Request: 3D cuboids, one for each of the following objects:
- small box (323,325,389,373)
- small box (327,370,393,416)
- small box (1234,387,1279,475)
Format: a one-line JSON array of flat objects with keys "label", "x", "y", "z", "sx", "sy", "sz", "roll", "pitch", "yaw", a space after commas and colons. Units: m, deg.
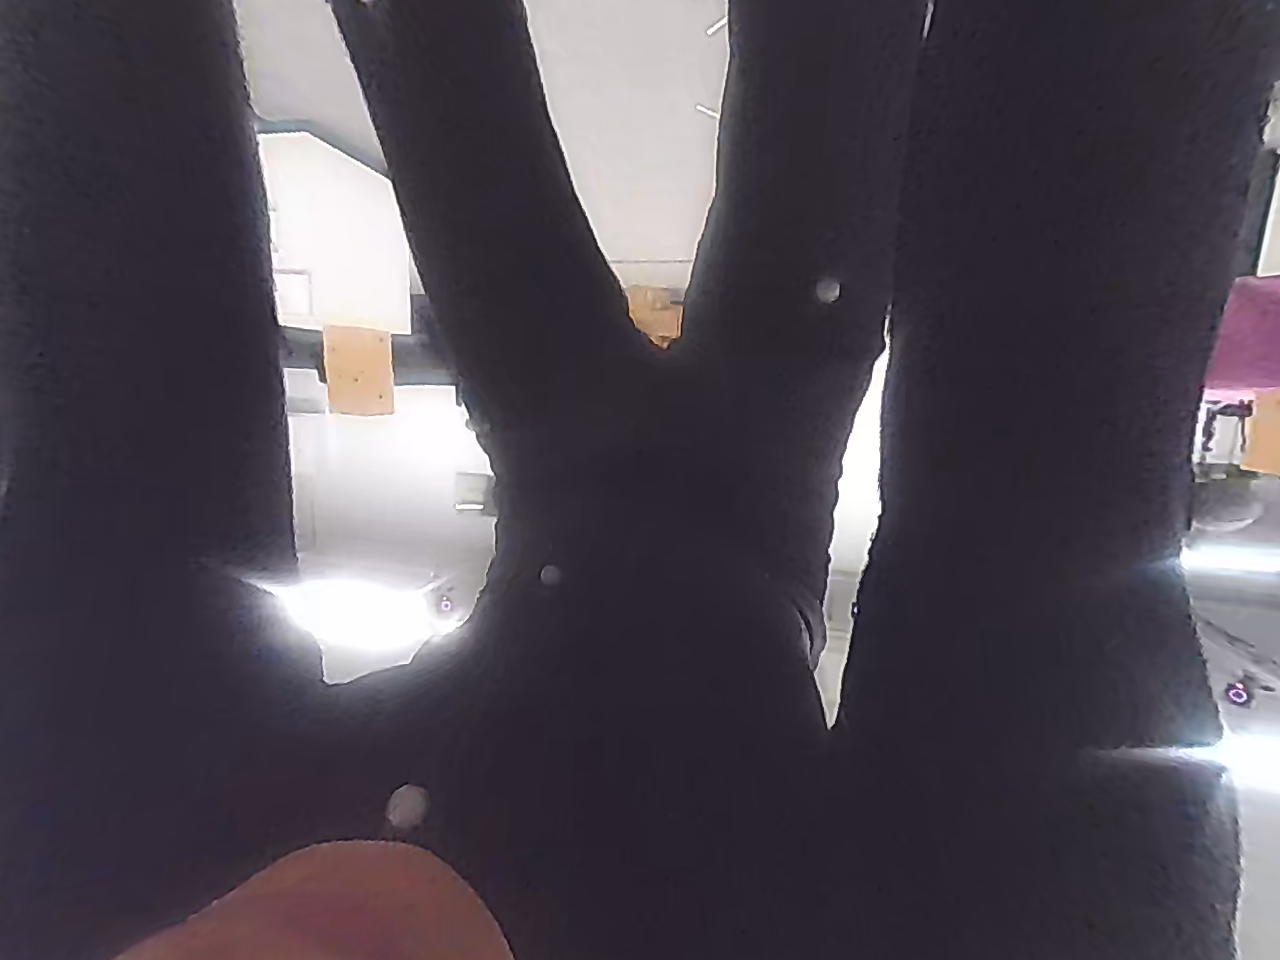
[{"label": "small box", "x": -1.103, "y": -0.510, "z": 2.106, "sx": 0.179, "sy": 0.176, "sz": 0.168, "roll": 5, "pitch": -169, "yaw": 9}, {"label": "small box", "x": -1.109, "y": -0.350, "z": 2.142, "sx": 0.168, "sy": 0.176, "sz": 0.179, "roll": 6, "pitch": -167, "yaw": 13}, {"label": "small box", "x": 1.338, "y": -0.089, "z": 1.046, "sx": 0.179, "sy": 0.176, "sz": 0.168, "roll": 5, "pitch": -170, "yaw": 13}]
